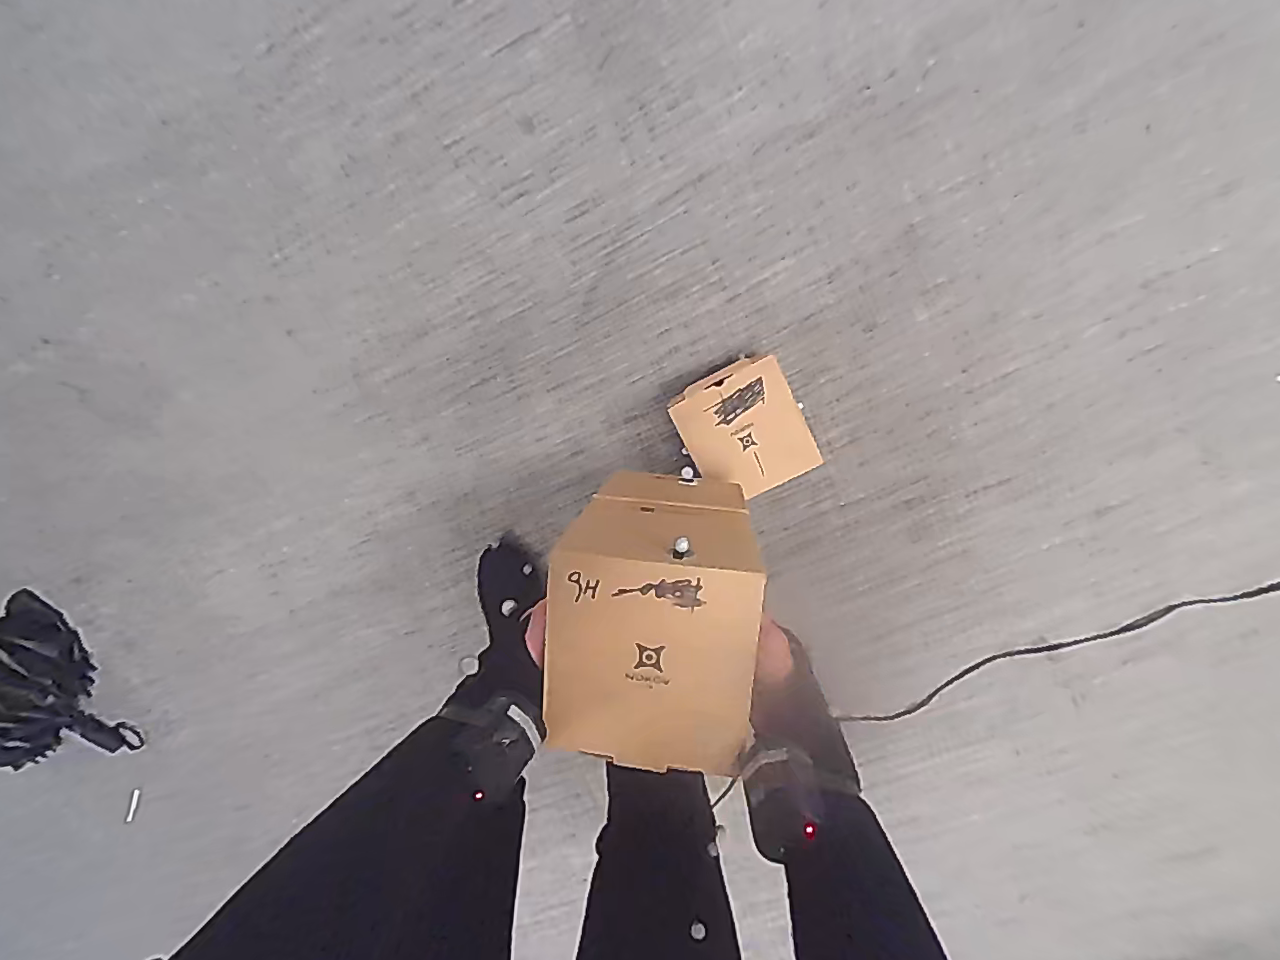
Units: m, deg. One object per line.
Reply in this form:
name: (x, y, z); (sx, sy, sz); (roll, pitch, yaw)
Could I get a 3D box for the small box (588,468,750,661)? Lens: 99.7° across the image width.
small box: (0.039, 0.091, 0.656); (0.168, 0.176, 0.179); (5, 101, 7)

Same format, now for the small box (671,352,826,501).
small box: (0.160, -0.082, 0.838); (0.168, 0.176, 0.179); (-26, 99, 12)
